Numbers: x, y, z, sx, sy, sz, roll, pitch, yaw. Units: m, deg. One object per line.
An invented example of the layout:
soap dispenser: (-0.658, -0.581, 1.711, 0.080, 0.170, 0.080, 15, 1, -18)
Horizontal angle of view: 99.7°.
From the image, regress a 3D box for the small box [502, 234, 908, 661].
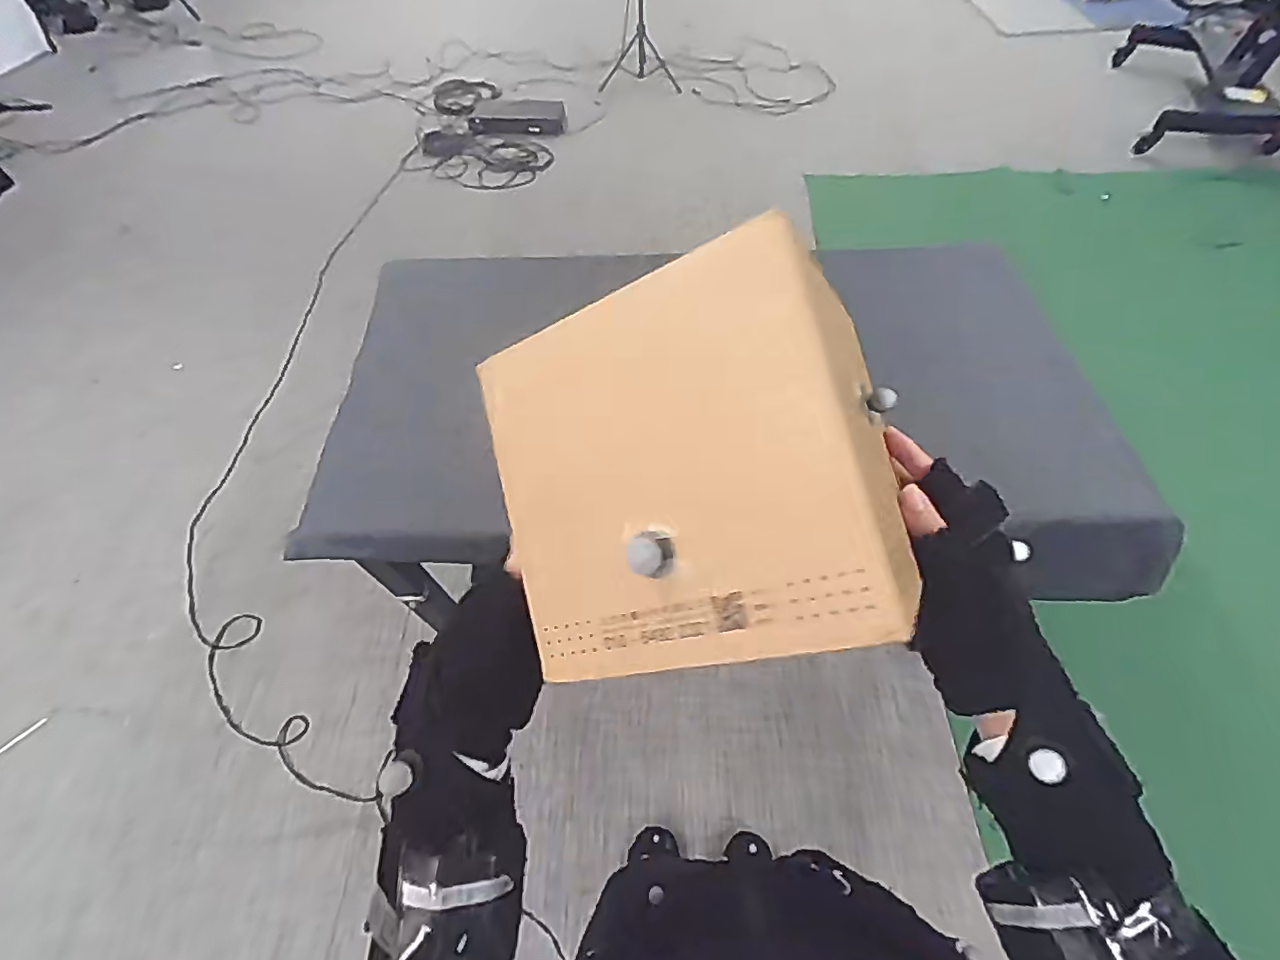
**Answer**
small box: (0.048, -0.002, 0.322, 0.168, 0.179, 0.176, -17, 83, 28)
